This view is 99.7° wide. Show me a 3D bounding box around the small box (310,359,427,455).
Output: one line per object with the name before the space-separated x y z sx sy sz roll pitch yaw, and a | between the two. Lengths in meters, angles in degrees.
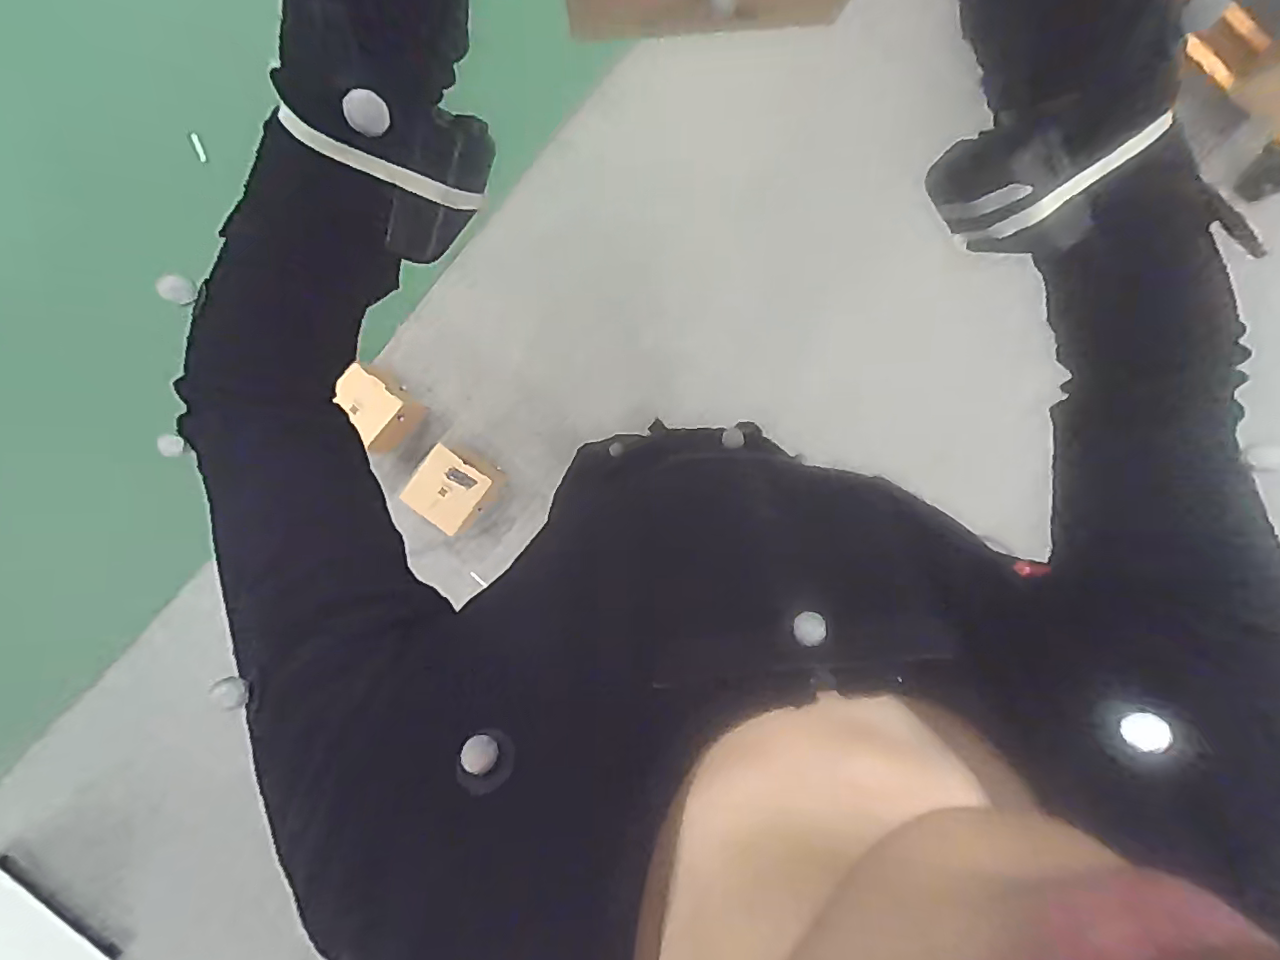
small box | -0.683 -0.180 1.383 0.168 0.176 0.179 41 92 -3

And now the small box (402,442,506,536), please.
small box | -0.467 0.017 1.393 0.168 0.176 0.179 37 93 -2
